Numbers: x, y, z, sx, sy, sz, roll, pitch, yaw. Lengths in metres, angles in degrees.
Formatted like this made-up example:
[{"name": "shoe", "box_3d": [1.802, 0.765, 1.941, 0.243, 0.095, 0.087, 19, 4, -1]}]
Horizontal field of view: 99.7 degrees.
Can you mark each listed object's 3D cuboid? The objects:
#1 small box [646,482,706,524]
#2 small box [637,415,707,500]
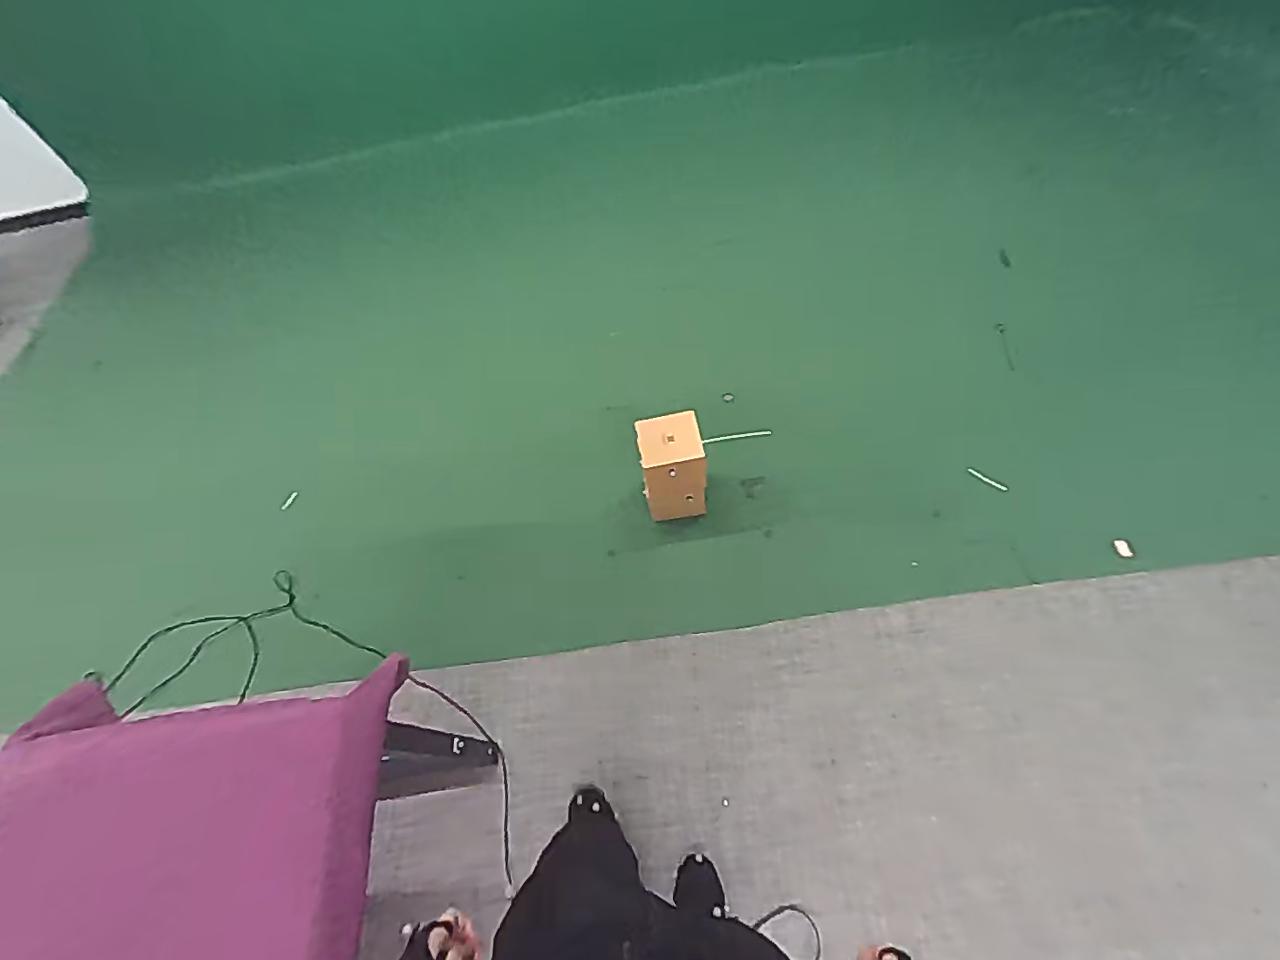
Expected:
[{"name": "small box", "box_3d": [0.114, 0.024, 1.721, 0.179, 0.176, 0.168, -9, 58, 4]}, {"name": "small box", "box_3d": [0.097, -0.062, 1.584, 0.179, 0.176, 0.168, -12, 58, 4]}]
